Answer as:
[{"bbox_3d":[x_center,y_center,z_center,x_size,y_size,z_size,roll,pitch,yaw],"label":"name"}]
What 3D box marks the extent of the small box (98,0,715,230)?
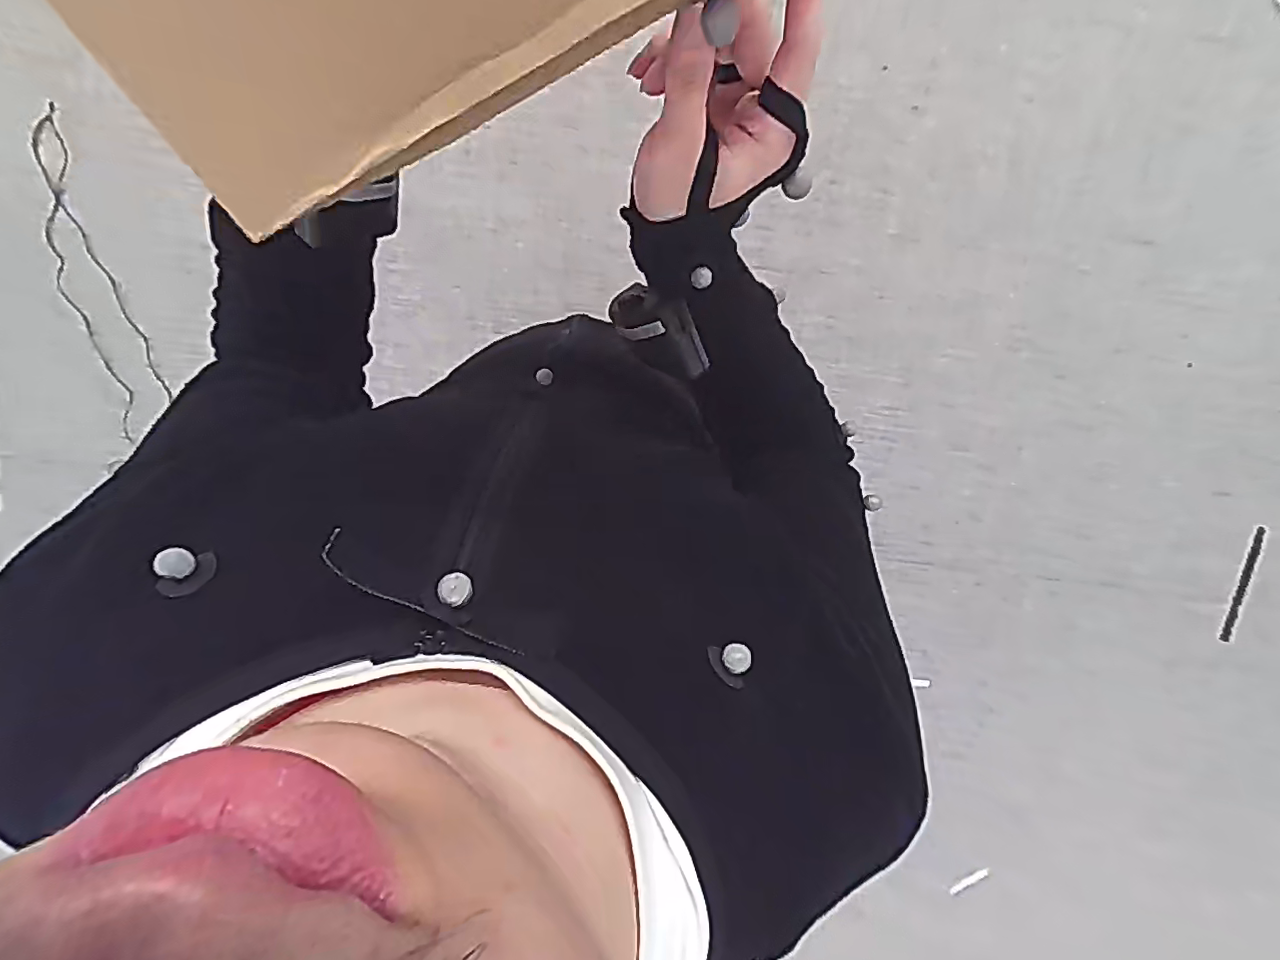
[{"bbox_3d":[-0.053,-0.203,0.145,0.179,0.176,0.168,-20,125,16],"label":"small box"}]
